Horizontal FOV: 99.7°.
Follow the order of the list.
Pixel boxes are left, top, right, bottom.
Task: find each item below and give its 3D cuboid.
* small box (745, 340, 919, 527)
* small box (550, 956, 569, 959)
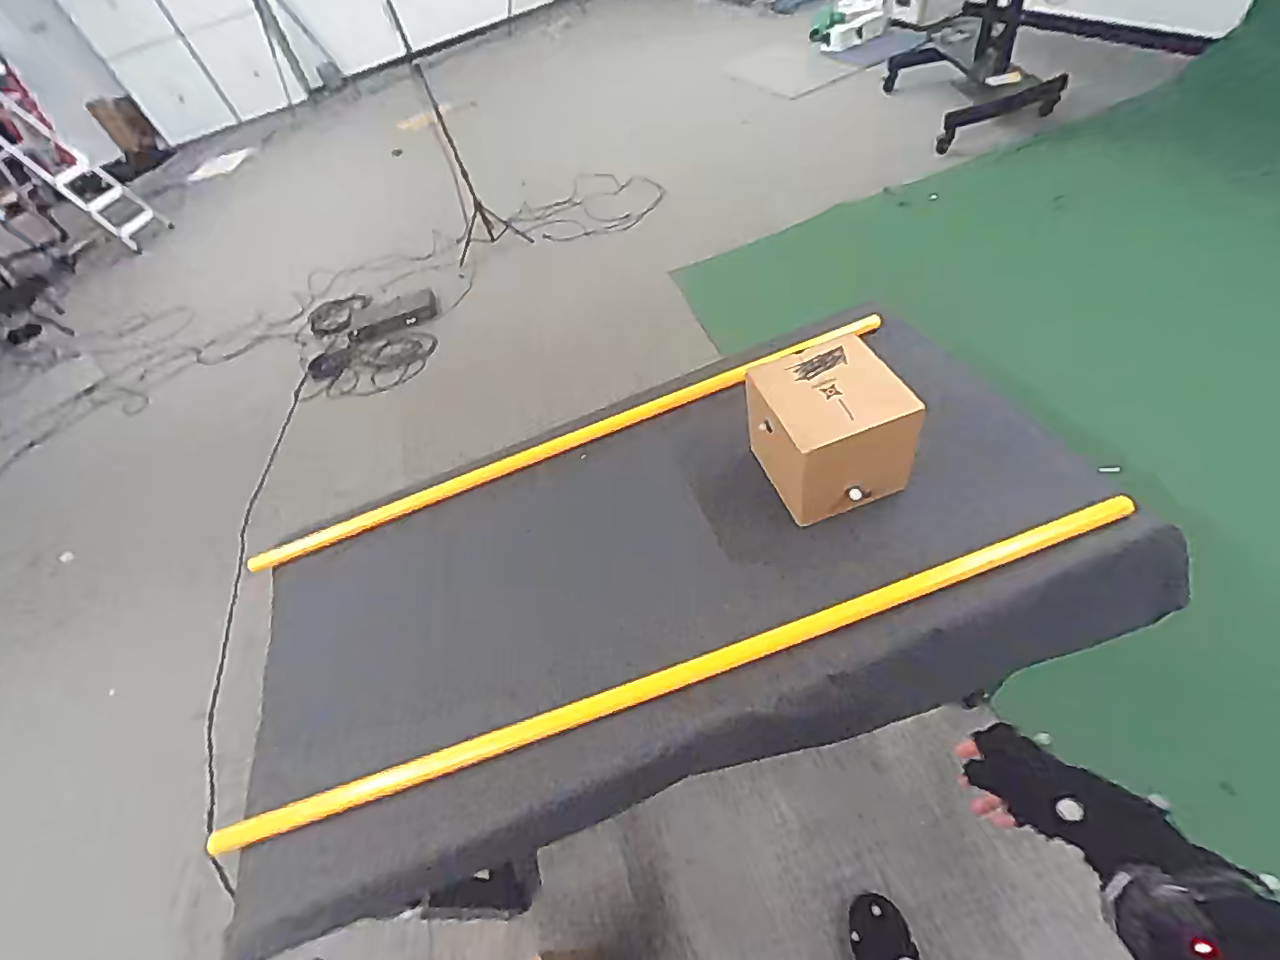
[{"bbox_3d":[0.263,-0.064,0.778,0.168,0.176,0.179,-21,49,-1],"label":"small box"},{"bbox_3d":[-0.166,0.904,0.854,0.168,0.176,0.179,-35,50,-12],"label":"small box"}]
